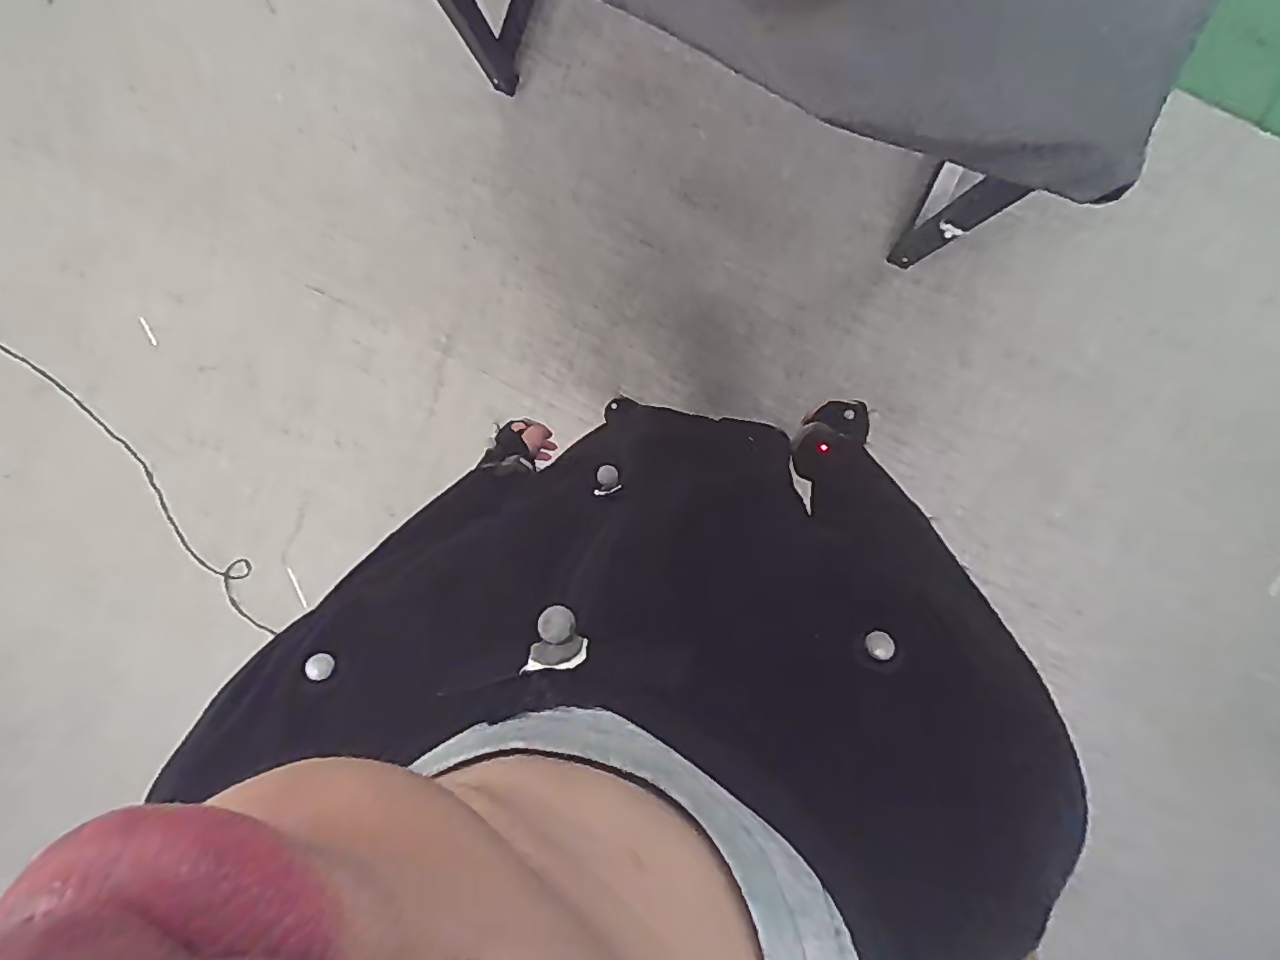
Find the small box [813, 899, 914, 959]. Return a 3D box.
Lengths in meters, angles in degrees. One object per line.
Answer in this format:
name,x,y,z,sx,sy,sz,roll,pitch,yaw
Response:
small box,0.536,1.159,1.297,0.179,0.176,0.168,16,103,1
